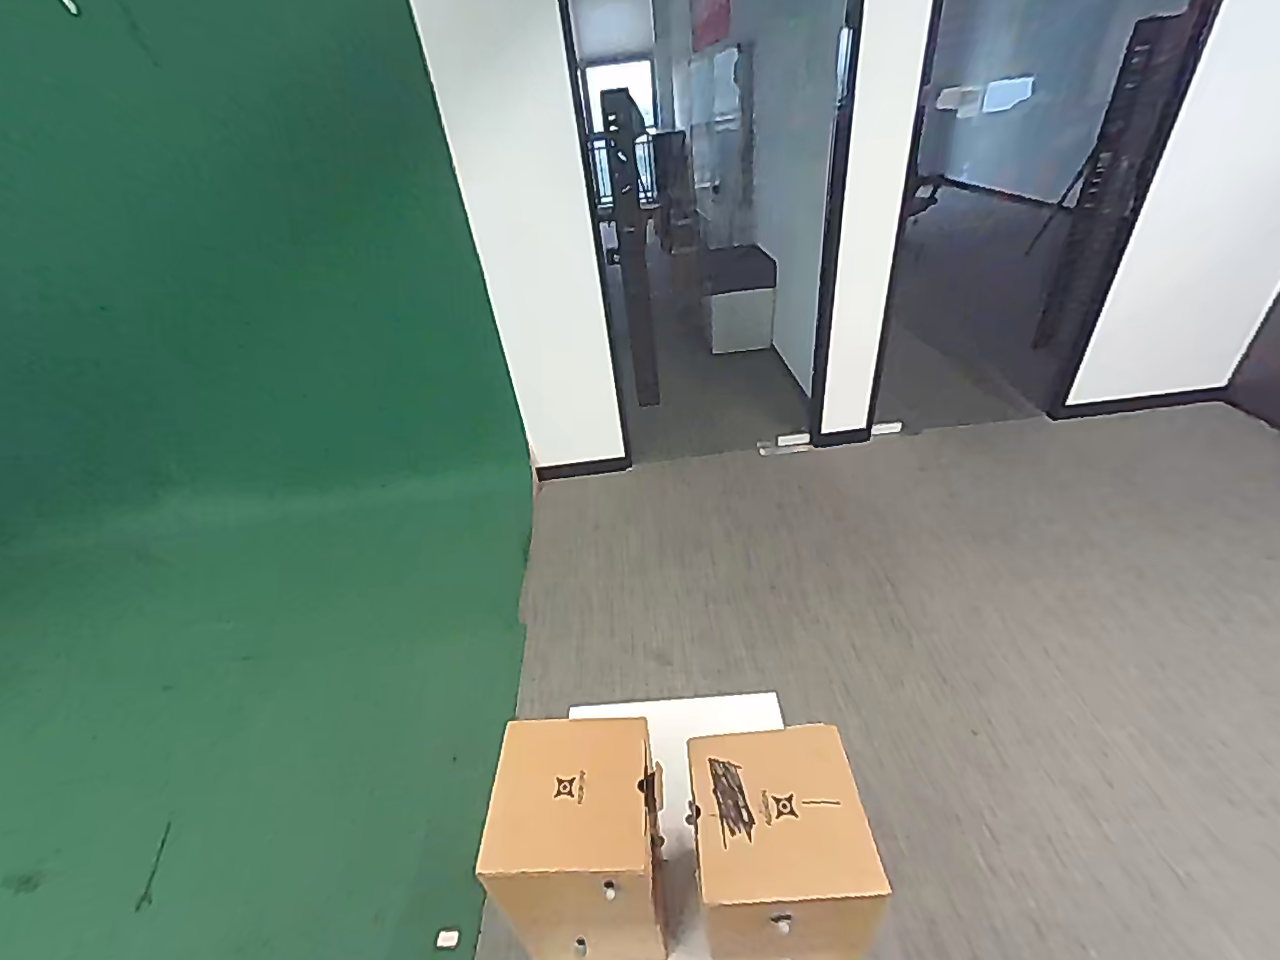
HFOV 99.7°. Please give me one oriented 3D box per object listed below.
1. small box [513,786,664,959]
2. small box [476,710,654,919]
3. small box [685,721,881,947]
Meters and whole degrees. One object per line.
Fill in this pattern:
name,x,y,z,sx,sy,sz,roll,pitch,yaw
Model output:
small box,-0.062,0.535,0.749,0.179,0.176,0.168,-4,35,1
small box,-0.075,0.402,0.653,0.179,0.176,0.168,-2,35,2
small box,0.149,0.401,0.614,0.179,0.176,0.168,-5,35,3
